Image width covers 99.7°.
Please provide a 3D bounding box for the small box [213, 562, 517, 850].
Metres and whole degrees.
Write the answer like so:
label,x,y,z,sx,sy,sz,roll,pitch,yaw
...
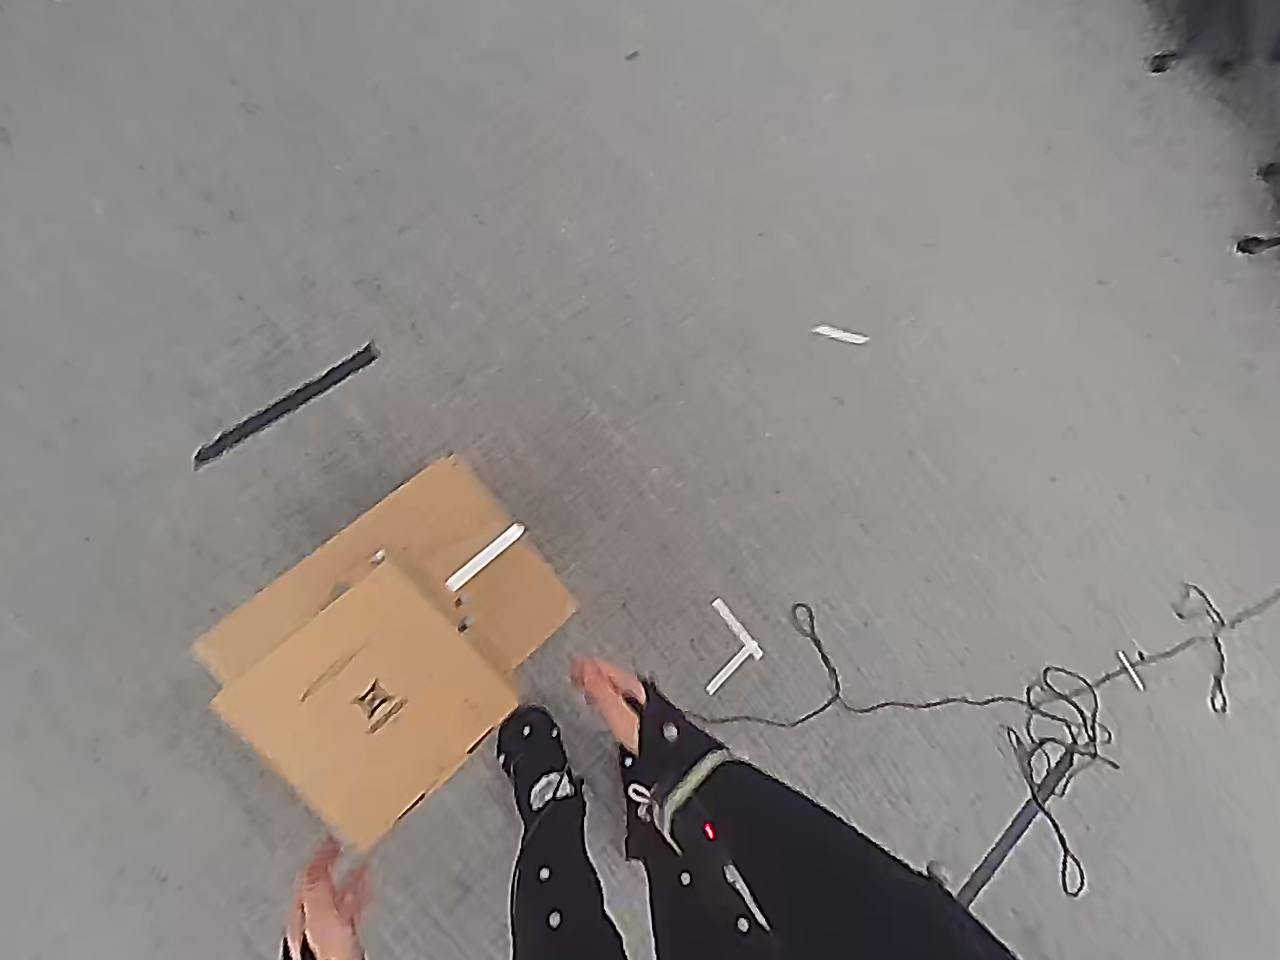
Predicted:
label,x,y,z,sx,sy,sz,roll,pitch,yaw
small box,-0.243,0.193,0.525,0.168,0.176,0.179,-43,97,-18
